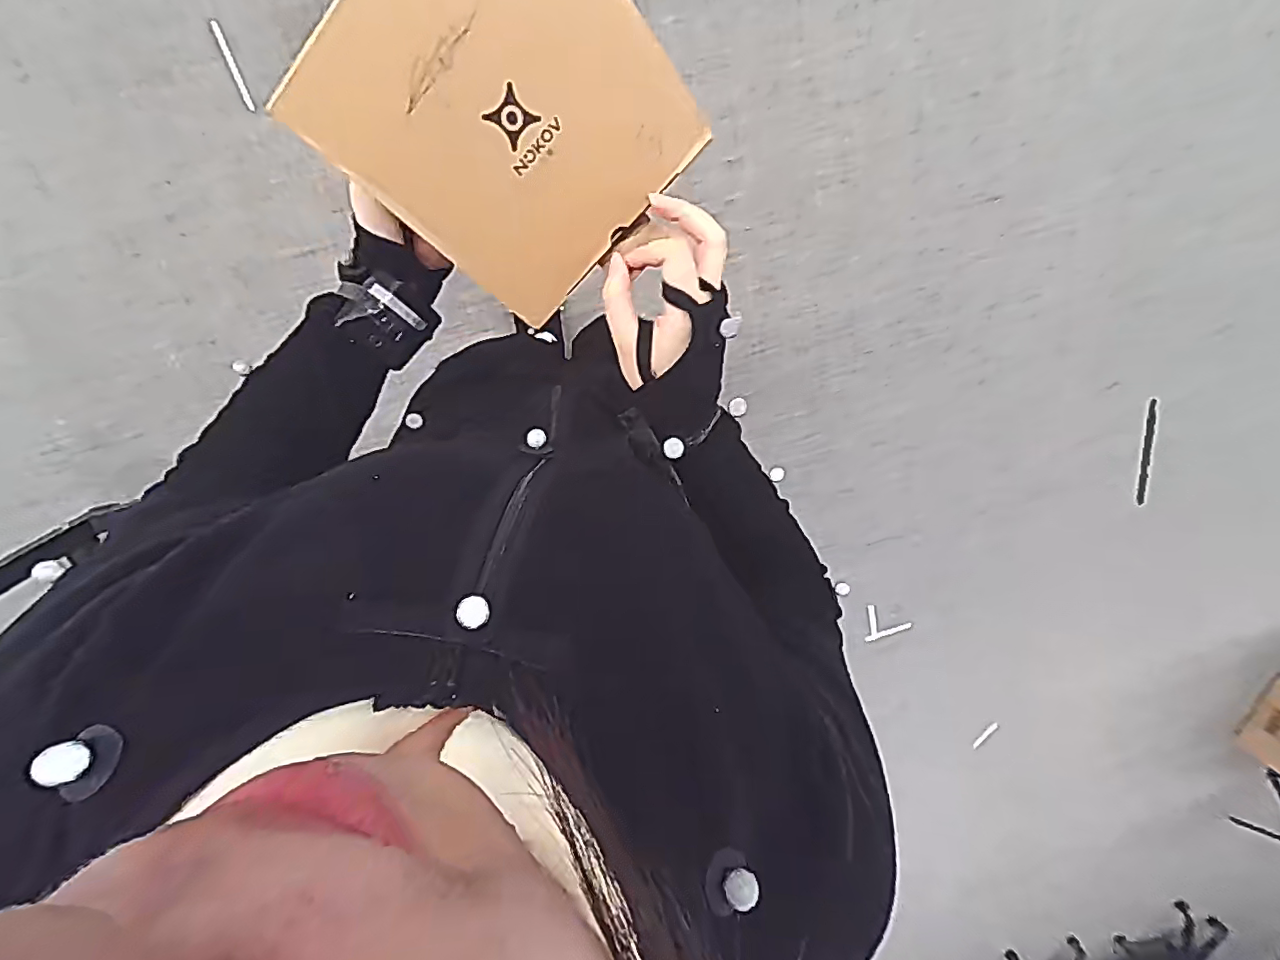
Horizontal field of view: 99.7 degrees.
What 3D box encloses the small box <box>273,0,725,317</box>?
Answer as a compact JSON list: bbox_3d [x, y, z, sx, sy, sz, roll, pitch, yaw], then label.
[{"bbox_3d":[-0.082,-0.245,0.342,0.168,0.176,0.179,-42,131,14],"label":"small box"}]
